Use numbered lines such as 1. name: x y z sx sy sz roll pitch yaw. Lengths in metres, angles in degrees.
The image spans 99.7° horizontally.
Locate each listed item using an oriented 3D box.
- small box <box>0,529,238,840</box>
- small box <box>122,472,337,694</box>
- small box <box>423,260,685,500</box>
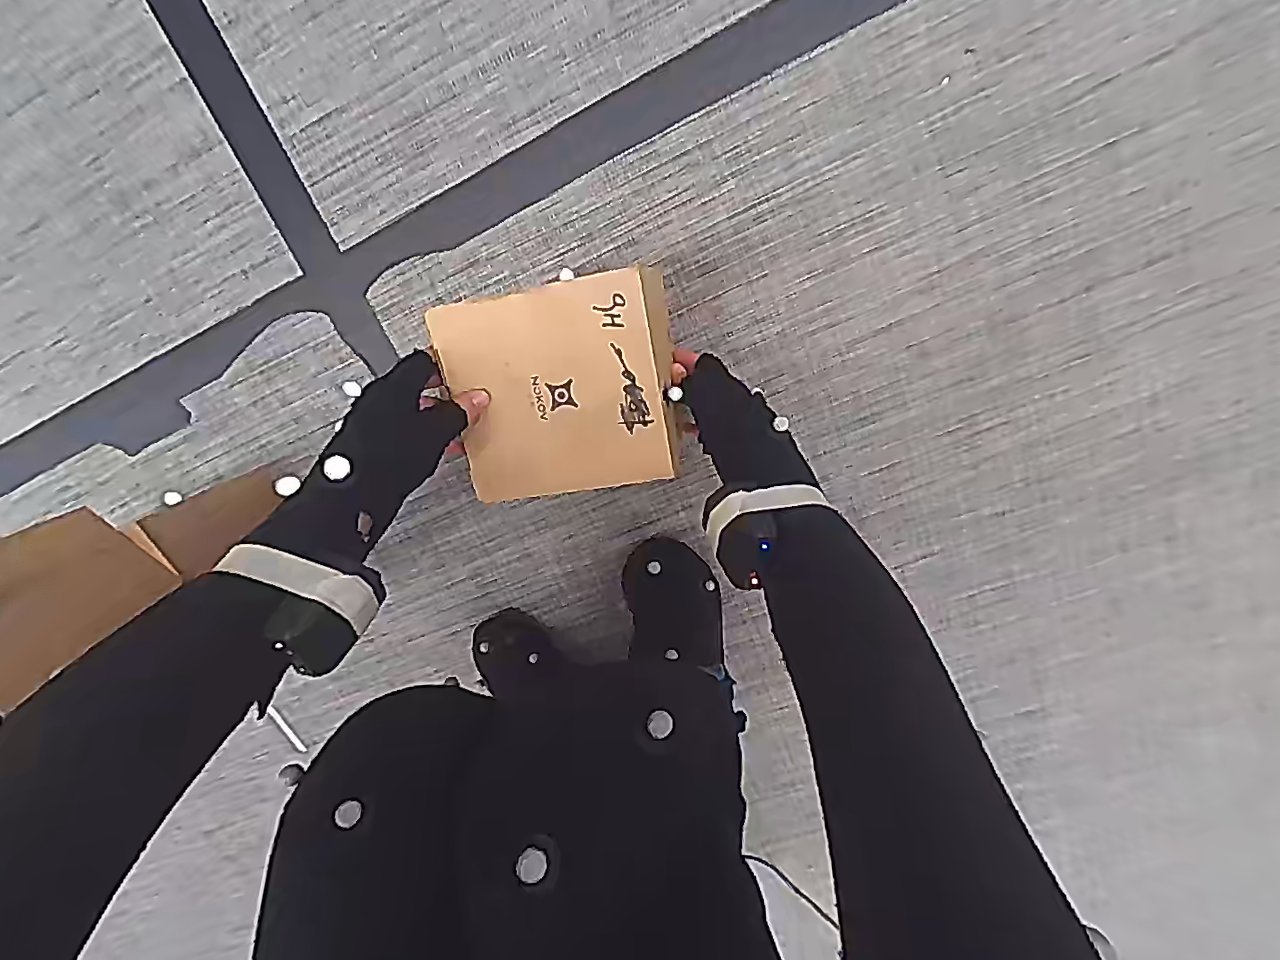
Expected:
1. small box: -0.516 0.164 0.467 0.168 0.176 0.179 -35 106 15
2. small box: -0.499 0.116 0.624 0.168 0.176 0.179 -23 106 11
3. small box: -0.061 -0.095 0.506 0.179 0.176 0.168 -10 107 11
